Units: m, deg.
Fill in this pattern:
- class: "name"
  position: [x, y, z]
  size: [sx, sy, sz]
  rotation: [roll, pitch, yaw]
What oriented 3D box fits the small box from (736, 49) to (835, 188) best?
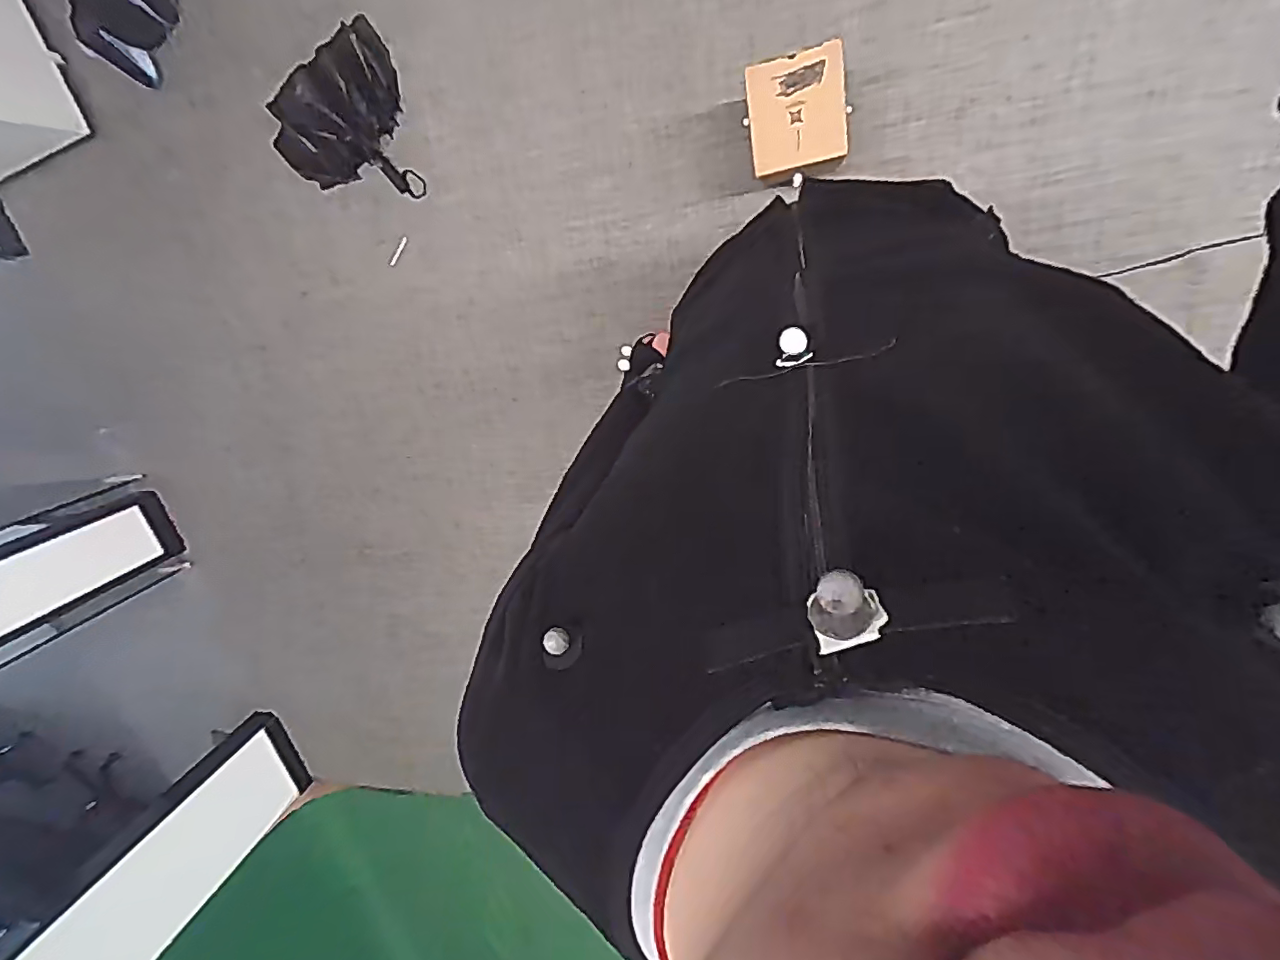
- class: "small box"
  position: [0.280, -0.680, 1.040]
  size: [0.168, 0.176, 0.179]
  rotation: [-4, 113, 18]
